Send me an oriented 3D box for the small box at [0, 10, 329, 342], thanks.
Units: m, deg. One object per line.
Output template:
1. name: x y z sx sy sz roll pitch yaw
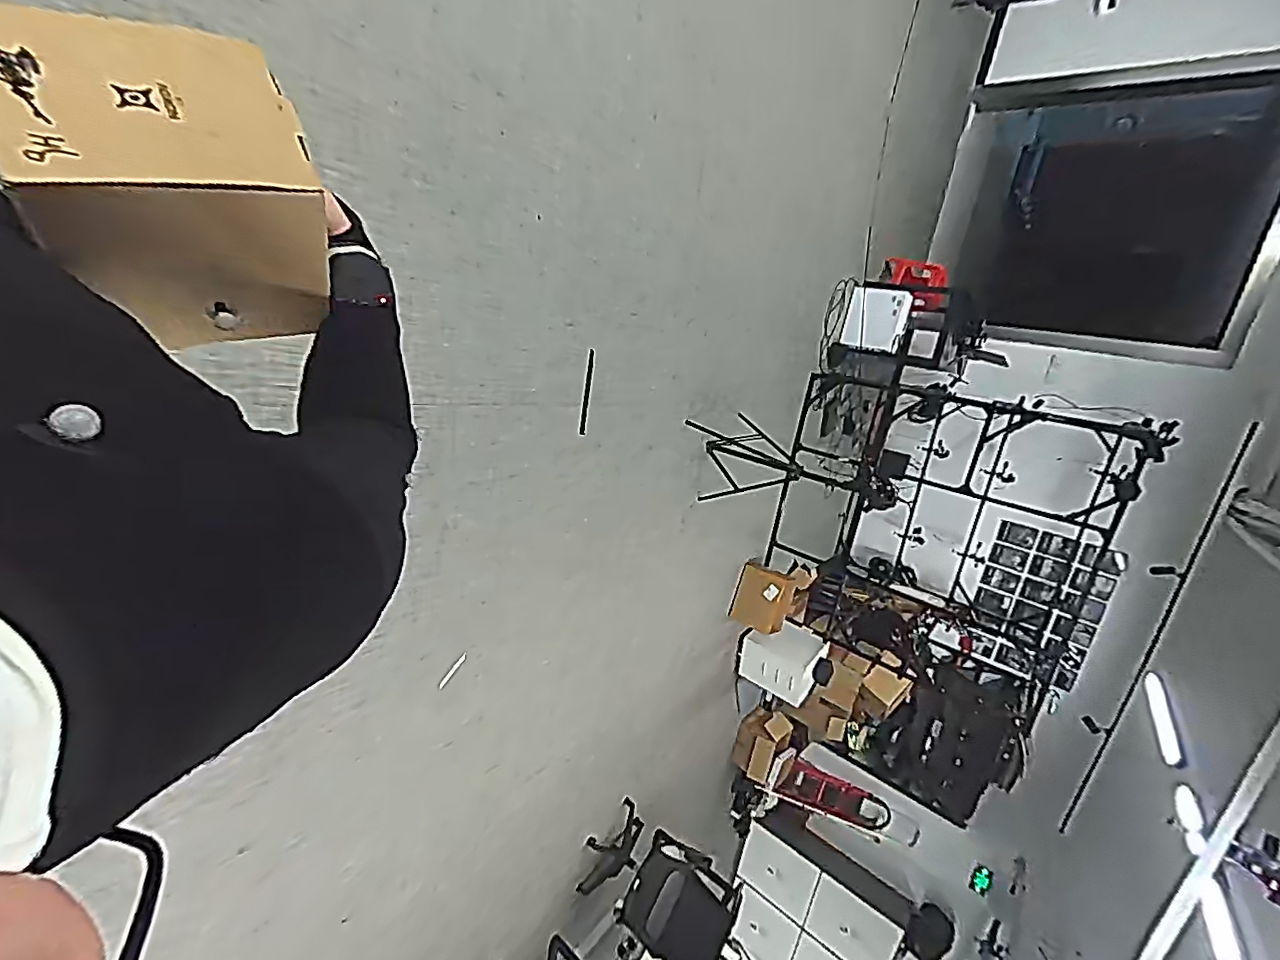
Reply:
1. small box: -0.390 -0.241 0.467 0.179 0.168 0.176 -19 164 -35
